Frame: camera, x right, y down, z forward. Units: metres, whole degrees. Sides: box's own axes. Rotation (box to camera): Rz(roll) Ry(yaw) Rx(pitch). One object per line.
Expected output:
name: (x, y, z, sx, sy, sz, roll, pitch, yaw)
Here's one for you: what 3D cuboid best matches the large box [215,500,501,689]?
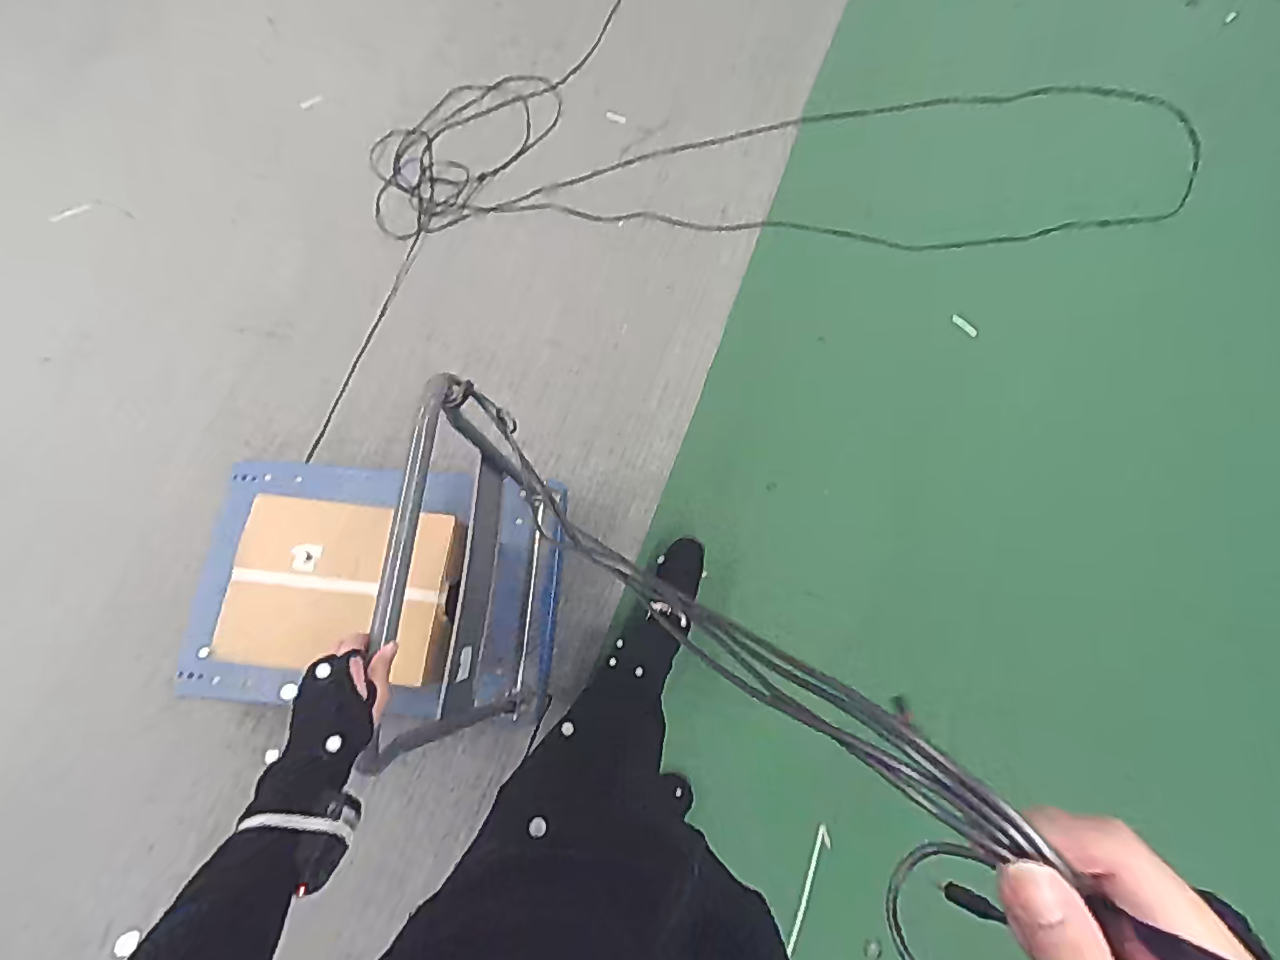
large box: (-0.547, 0.239, 1.139, 0.408, 0.320, 0.320, 6, 75, 4)
